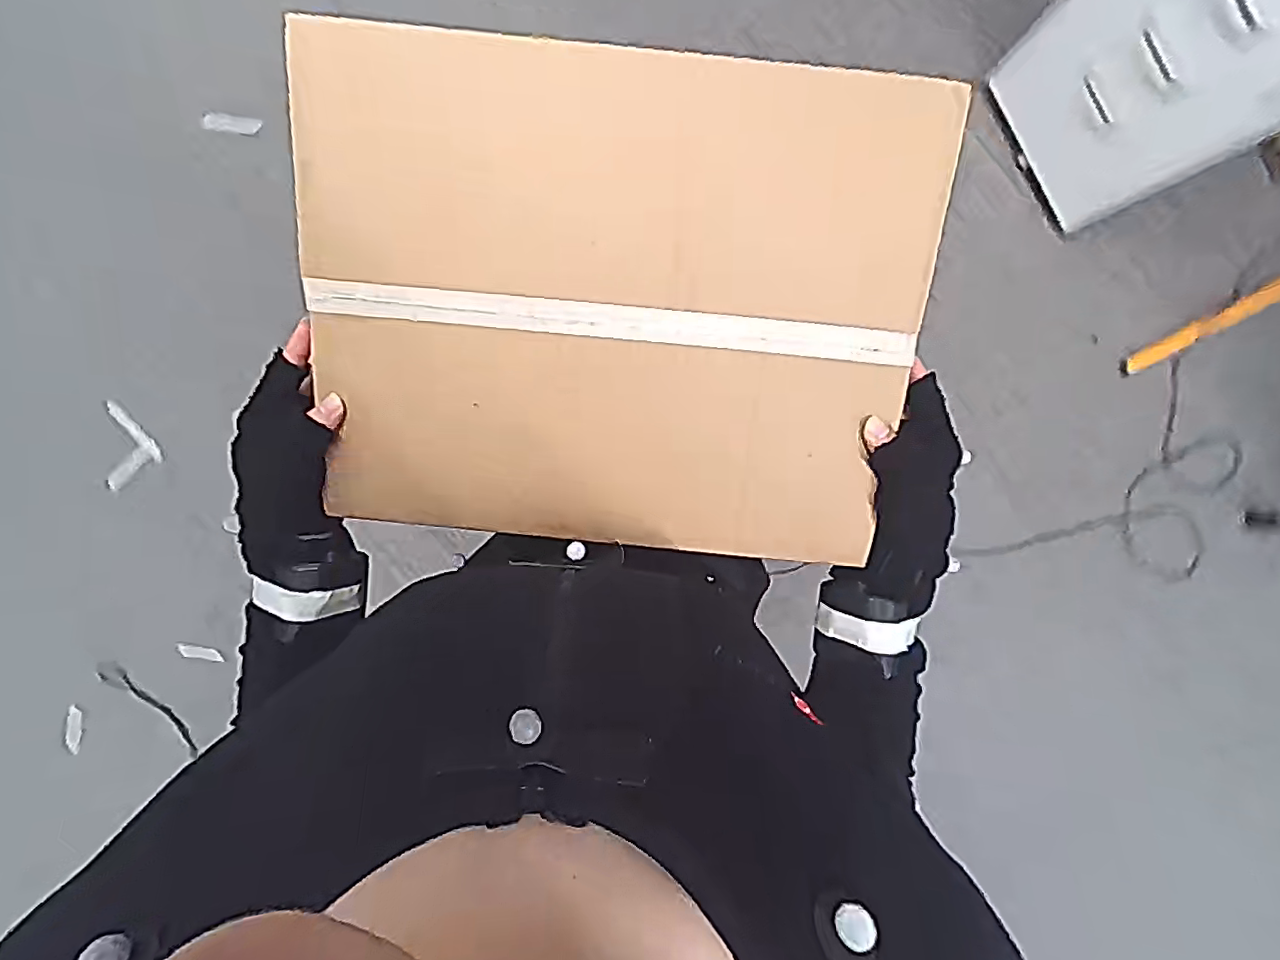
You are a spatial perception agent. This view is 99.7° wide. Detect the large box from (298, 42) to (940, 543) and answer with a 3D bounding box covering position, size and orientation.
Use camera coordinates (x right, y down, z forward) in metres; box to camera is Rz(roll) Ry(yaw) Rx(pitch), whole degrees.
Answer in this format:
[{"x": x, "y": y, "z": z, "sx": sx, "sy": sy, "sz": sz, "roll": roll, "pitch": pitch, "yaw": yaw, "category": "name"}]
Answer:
[{"x": -0.021, "y": -0.149, "z": 0.514, "sx": 0.408, "sy": 0.320, "sz": 0.320, "roll": 4, "pitch": 107, "yaw": 0, "category": "large box"}]
